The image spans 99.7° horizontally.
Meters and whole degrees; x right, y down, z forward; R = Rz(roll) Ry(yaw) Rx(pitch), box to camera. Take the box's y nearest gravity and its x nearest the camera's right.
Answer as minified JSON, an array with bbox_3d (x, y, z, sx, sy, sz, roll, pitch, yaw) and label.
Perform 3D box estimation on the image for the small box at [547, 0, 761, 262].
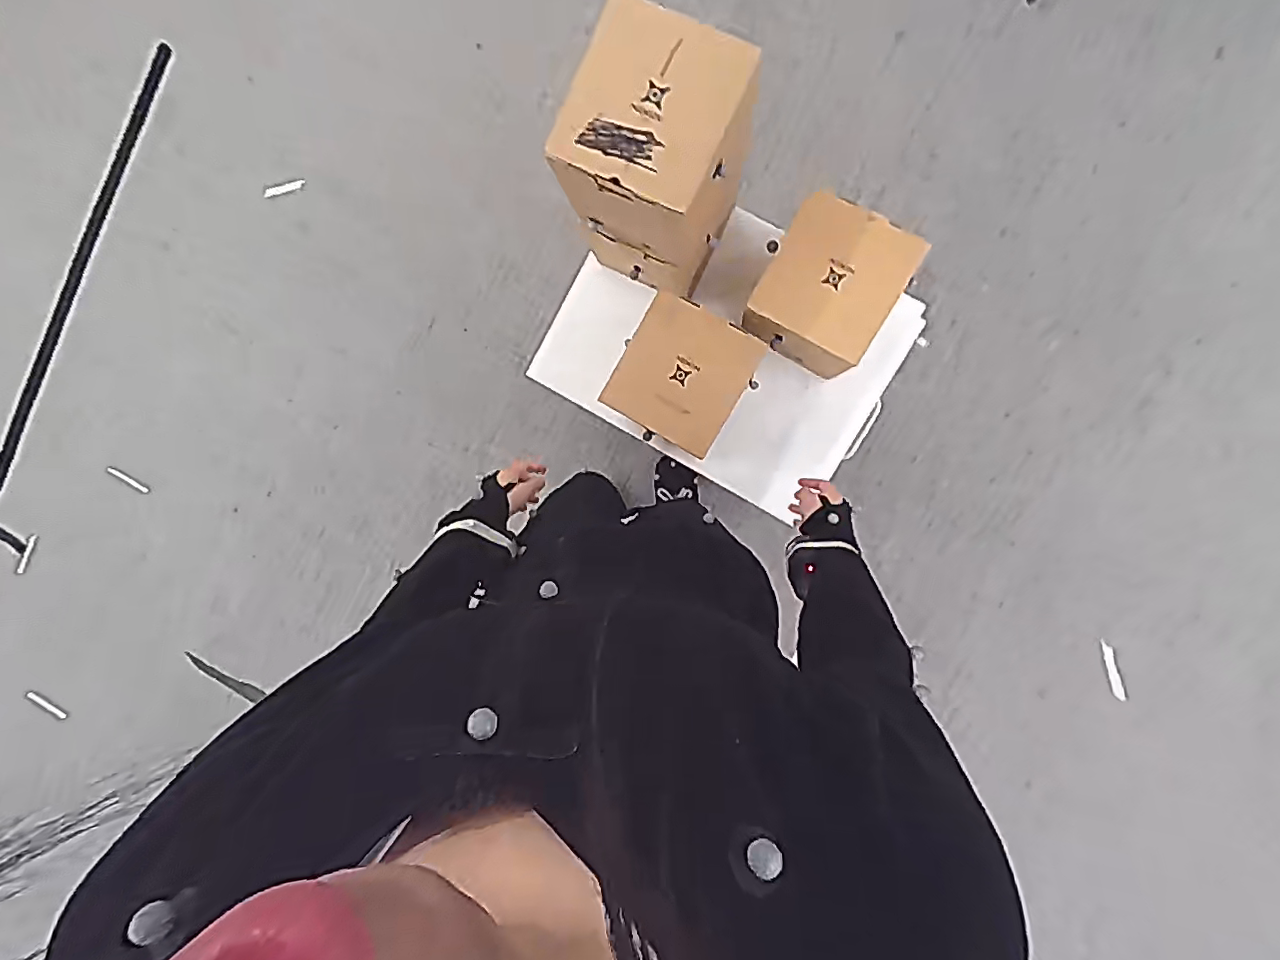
[{"bbox_3d":[0.021,-0.382,0.622,0.168,0.176,0.179,27,96,4],"label":"small box"}]
